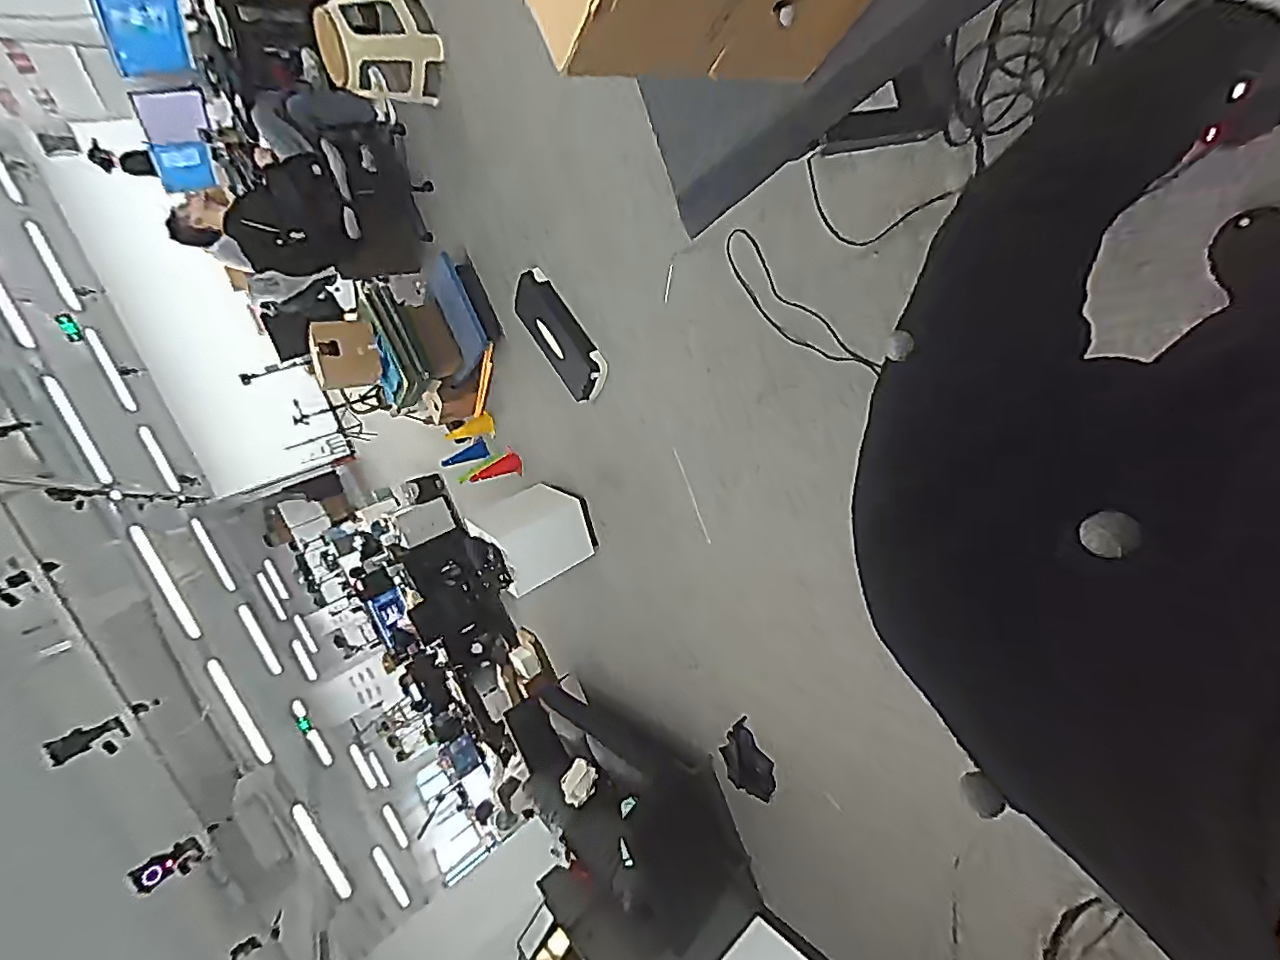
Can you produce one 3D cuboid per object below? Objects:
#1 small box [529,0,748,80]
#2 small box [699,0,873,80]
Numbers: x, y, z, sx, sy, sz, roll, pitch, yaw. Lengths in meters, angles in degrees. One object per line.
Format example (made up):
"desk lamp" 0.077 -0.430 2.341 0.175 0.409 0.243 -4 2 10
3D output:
"small box" 0.003 -0.464 0.430 0.168 0.176 0.179 -21 93 58
"small box" 0.134 -0.522 0.508 0.179 0.176 0.168 -25 90 60
